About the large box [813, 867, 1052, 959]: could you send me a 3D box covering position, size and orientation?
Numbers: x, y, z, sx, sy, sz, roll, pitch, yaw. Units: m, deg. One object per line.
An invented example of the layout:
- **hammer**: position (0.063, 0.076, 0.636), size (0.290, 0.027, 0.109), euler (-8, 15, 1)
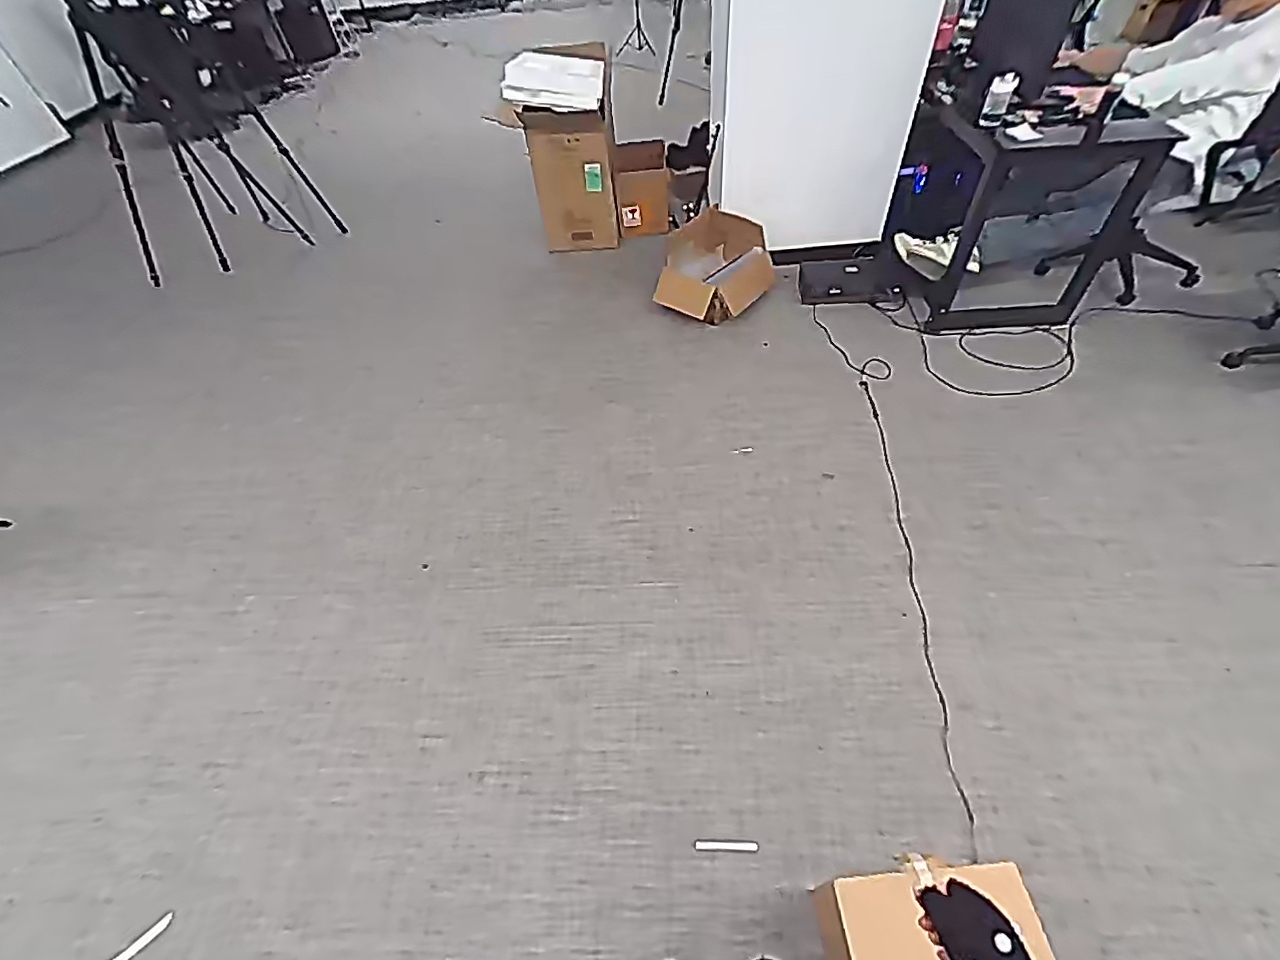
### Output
- **large box**: position (0.524, 0.935, 0.929), size (0.320, 0.320, 0.408), euler (-8, 51, 2)
